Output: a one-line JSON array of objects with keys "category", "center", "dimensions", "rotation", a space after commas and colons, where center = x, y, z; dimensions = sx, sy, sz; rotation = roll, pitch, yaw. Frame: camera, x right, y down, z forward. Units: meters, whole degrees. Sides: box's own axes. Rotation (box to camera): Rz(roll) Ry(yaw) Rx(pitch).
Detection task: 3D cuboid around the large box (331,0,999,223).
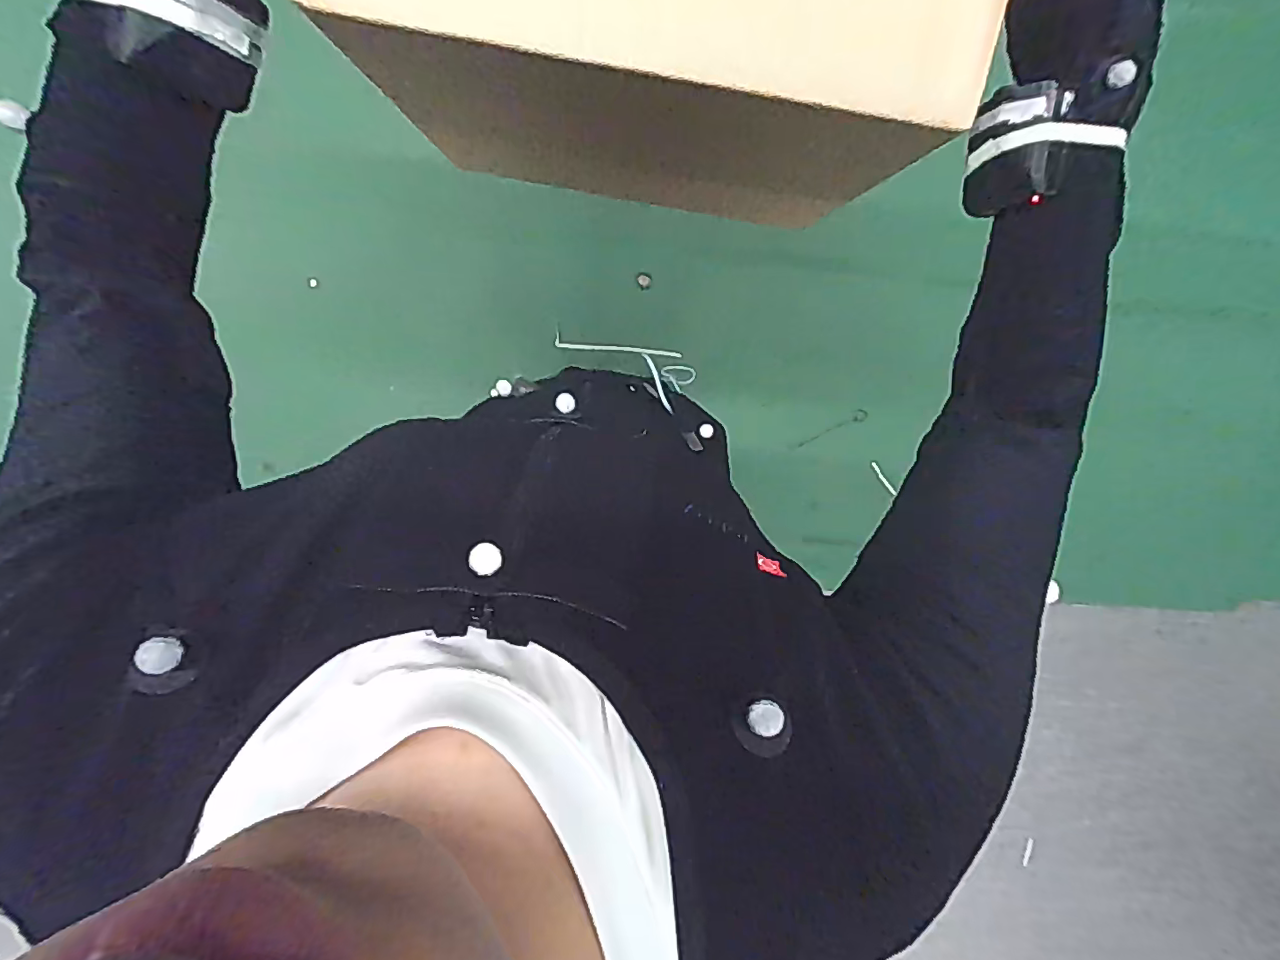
[{"category": "large box", "center": [0.025, -0.431, 0.433], "dimensions": [0.408, 0.320, 0.320], "rotation": [8, 104, -5]}]
